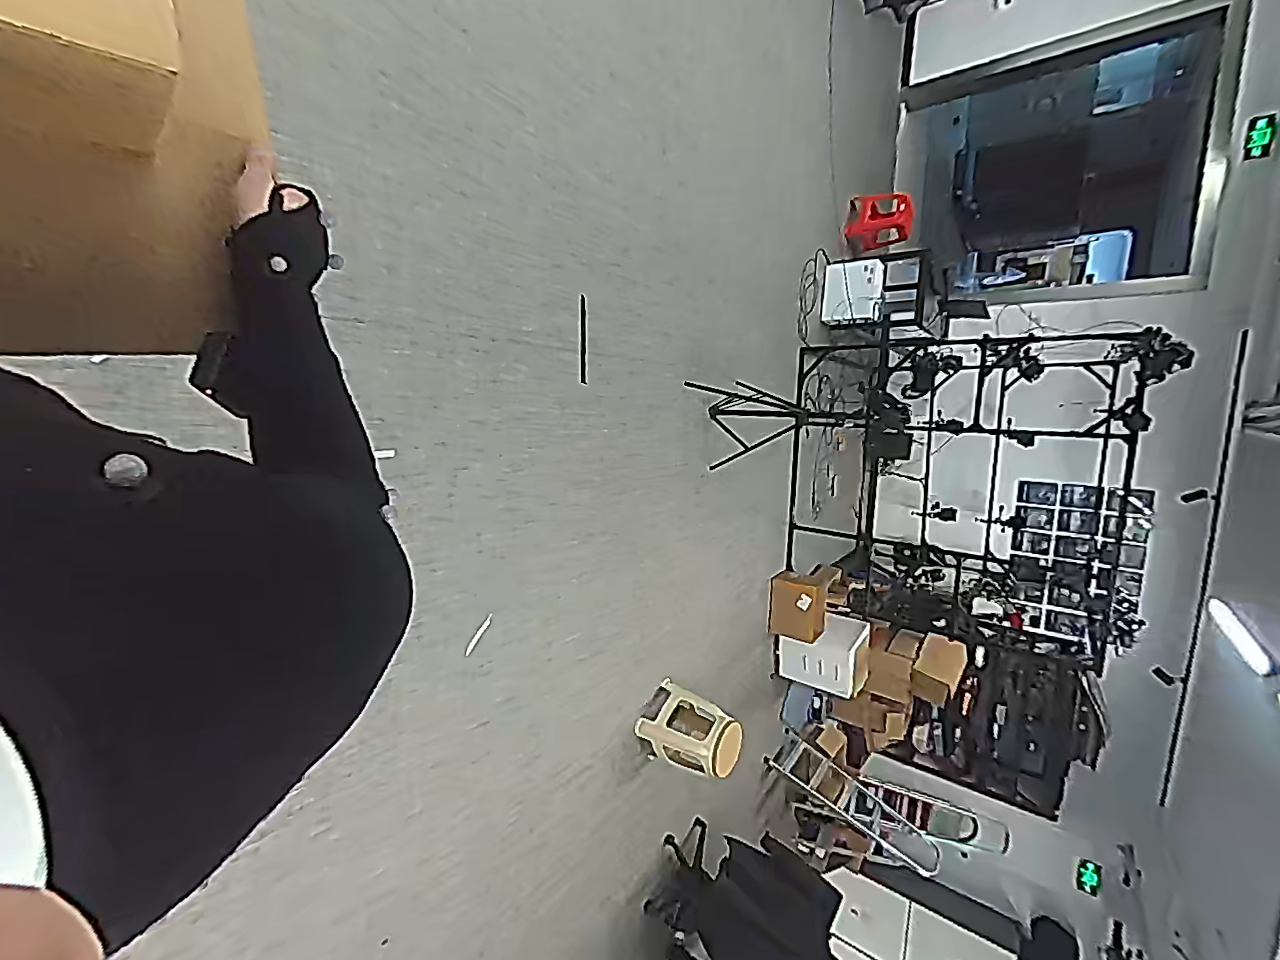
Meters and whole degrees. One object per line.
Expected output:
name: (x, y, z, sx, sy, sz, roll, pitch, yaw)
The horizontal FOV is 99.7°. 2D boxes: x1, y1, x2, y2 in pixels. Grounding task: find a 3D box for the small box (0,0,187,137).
small box: (-0.415, -0.339, 0.331, 0.179, 0.176, 0.168, -12, 106, -45)
